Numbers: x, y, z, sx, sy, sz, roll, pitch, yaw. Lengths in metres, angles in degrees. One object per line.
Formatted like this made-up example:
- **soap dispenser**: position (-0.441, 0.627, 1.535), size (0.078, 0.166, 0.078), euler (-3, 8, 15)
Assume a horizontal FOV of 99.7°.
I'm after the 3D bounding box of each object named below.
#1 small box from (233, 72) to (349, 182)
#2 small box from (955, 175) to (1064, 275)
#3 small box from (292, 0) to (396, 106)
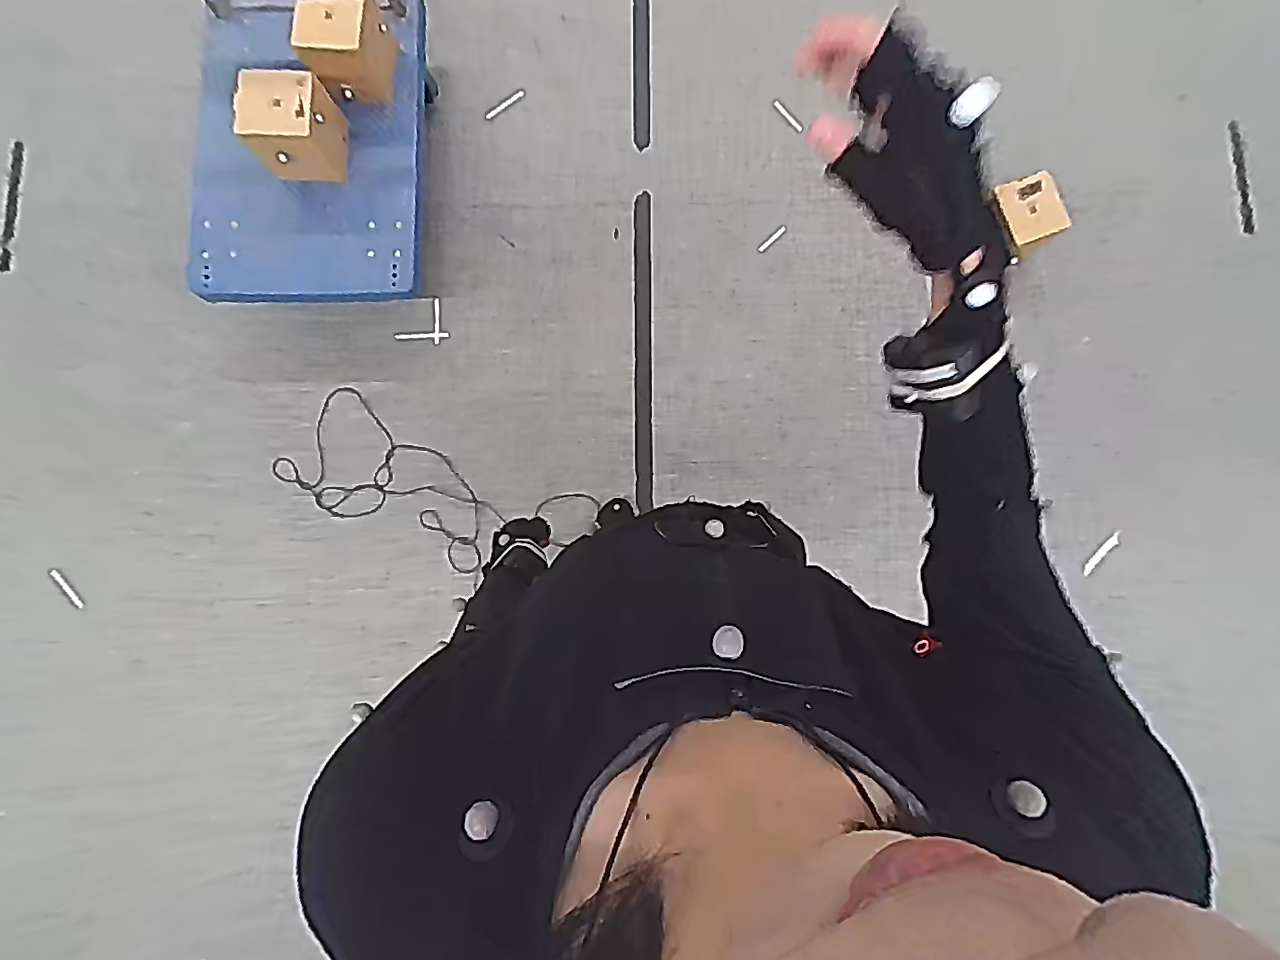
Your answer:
- **small box**: position (-0.858, -0.869, 1.343), size (0.179, 0.176, 0.168), euler (1, 86, 0)
- **small box**: position (1.053, -0.728, 1.558), size (0.168, 0.176, 0.179), euler (-20, 86, -3)
- **small box**: position (-0.739, -1.094, 1.367), size (0.168, 0.176, 0.179), euler (4, 86, 1)
